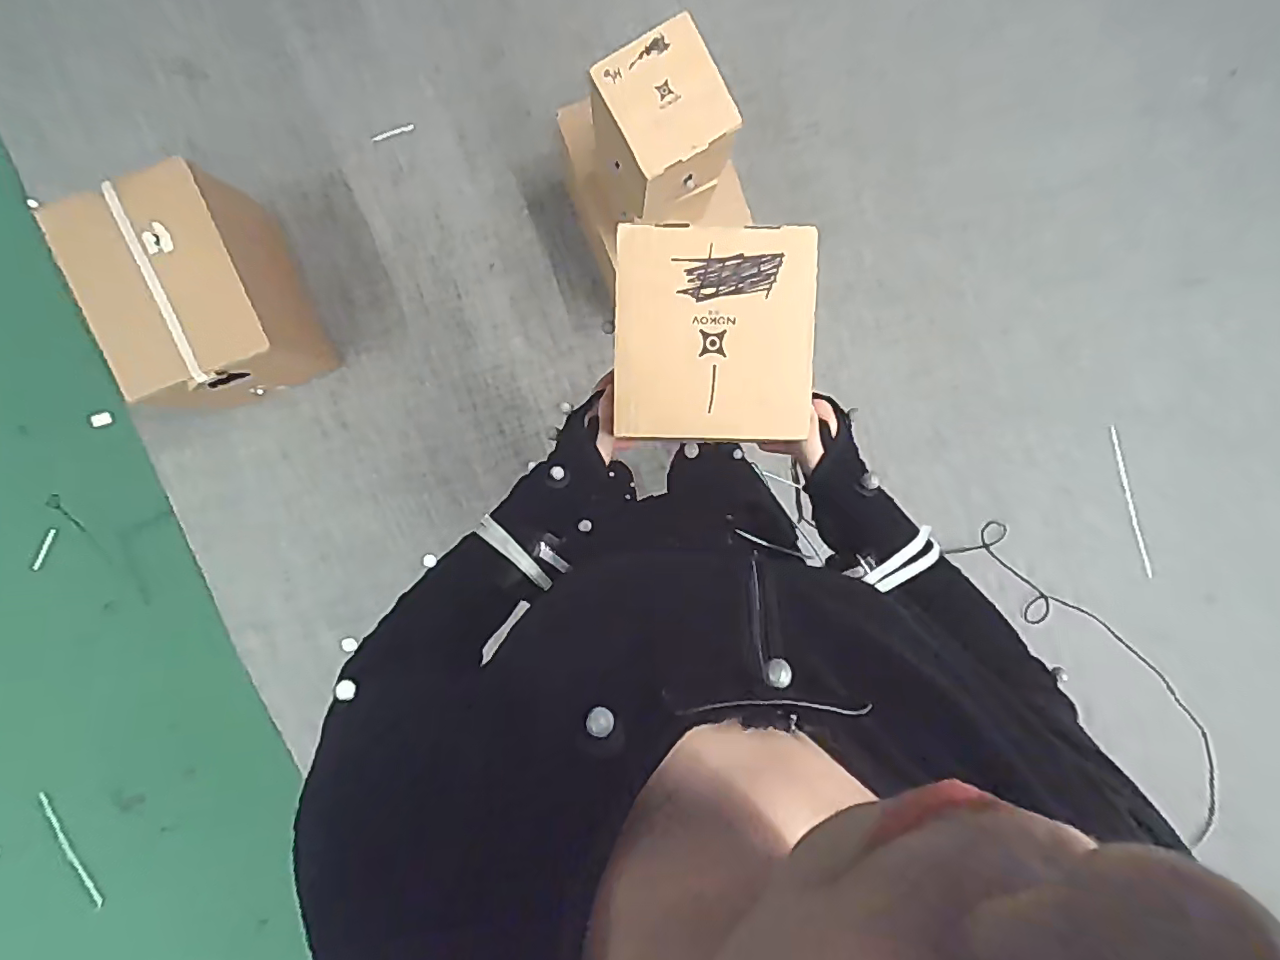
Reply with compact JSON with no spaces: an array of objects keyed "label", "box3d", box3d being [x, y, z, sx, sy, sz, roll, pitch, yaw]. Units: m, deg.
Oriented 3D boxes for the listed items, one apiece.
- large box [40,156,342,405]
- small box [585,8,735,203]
[{"label":"large box","box3d":[-0.972,-0.415,1.229,0.320,0.320,0.408,-22,96,-1]},{"label":"small box","box3d":[0.029,-0.578,0.869,0.168,0.176,0.179,-30,98,1]}]
